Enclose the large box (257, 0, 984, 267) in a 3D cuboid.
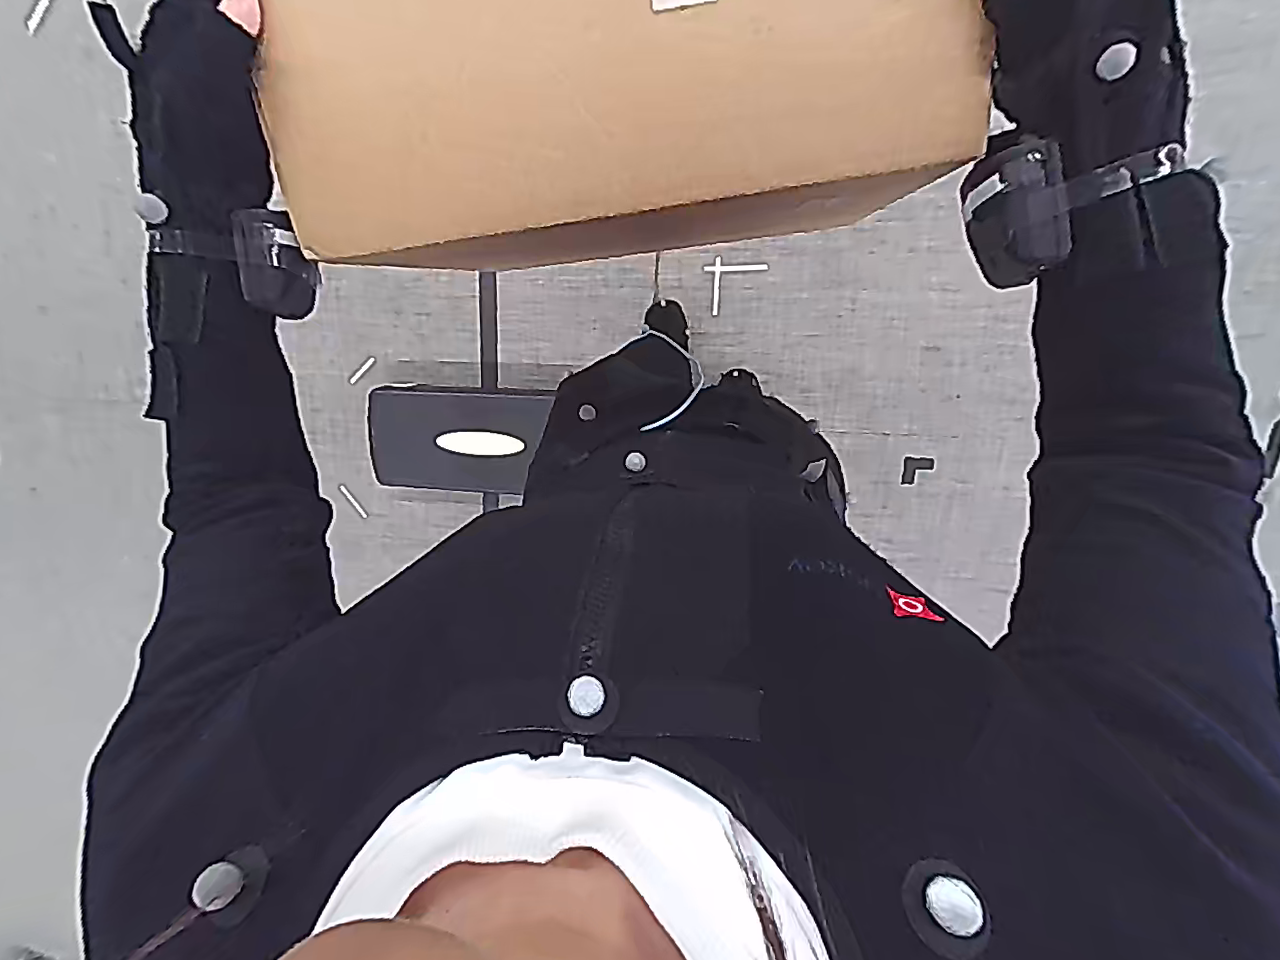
[{"bbox_3d":[-0.012,-0.362,0.418,0.408,0.320,0.320,-4,110,10],"label":"large box"}]
